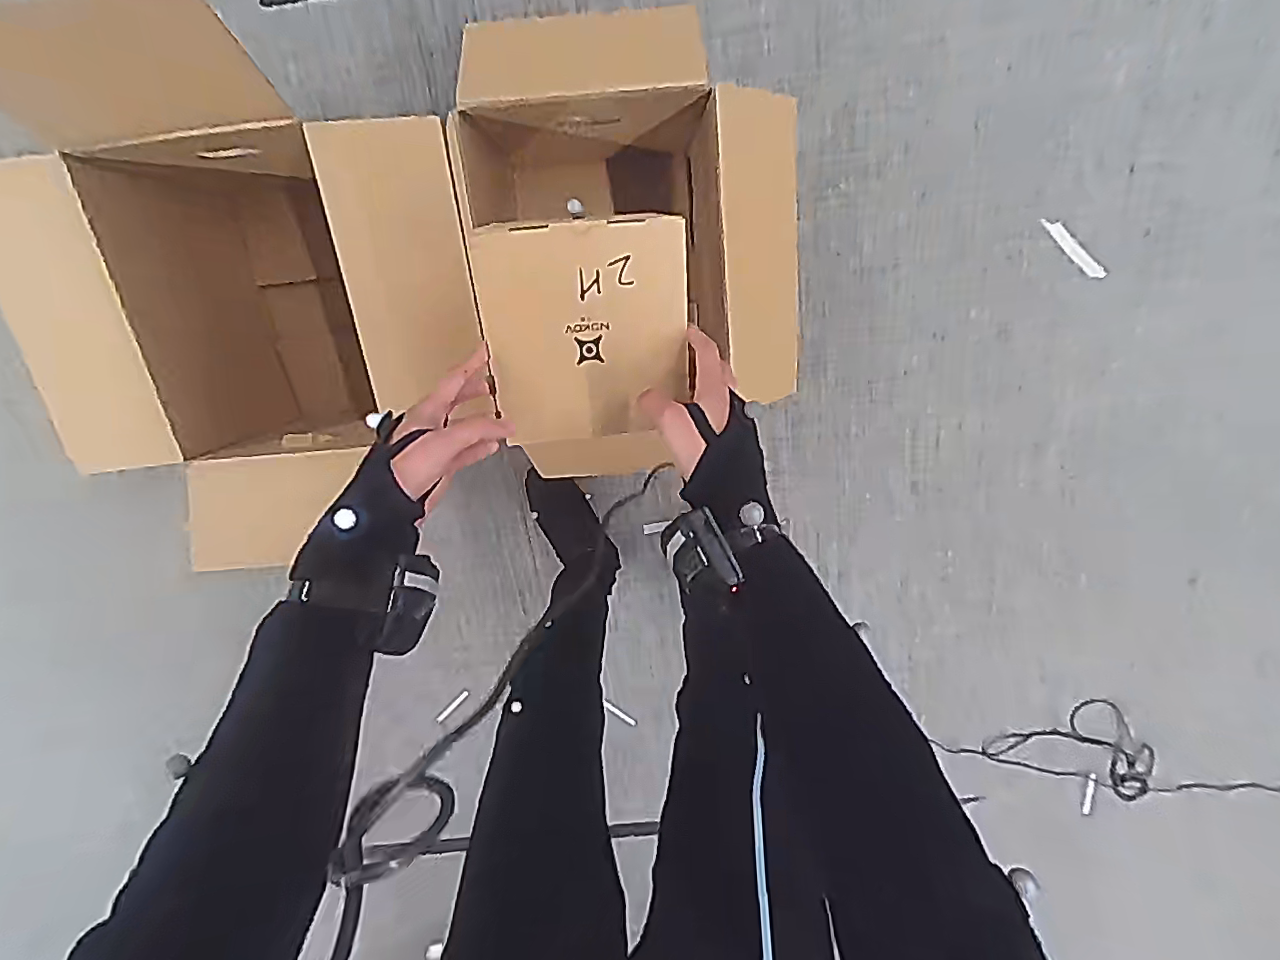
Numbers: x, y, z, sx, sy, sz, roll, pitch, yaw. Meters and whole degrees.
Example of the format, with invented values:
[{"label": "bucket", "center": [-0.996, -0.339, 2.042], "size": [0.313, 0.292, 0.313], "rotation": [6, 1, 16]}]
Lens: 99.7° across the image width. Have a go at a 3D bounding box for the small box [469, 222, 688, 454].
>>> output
[{"label": "small box", "center": [-0.051, -0.142, 0.511], "size": [0.168, 0.176, 0.179], "rotation": [-6, 117, -5]}]
